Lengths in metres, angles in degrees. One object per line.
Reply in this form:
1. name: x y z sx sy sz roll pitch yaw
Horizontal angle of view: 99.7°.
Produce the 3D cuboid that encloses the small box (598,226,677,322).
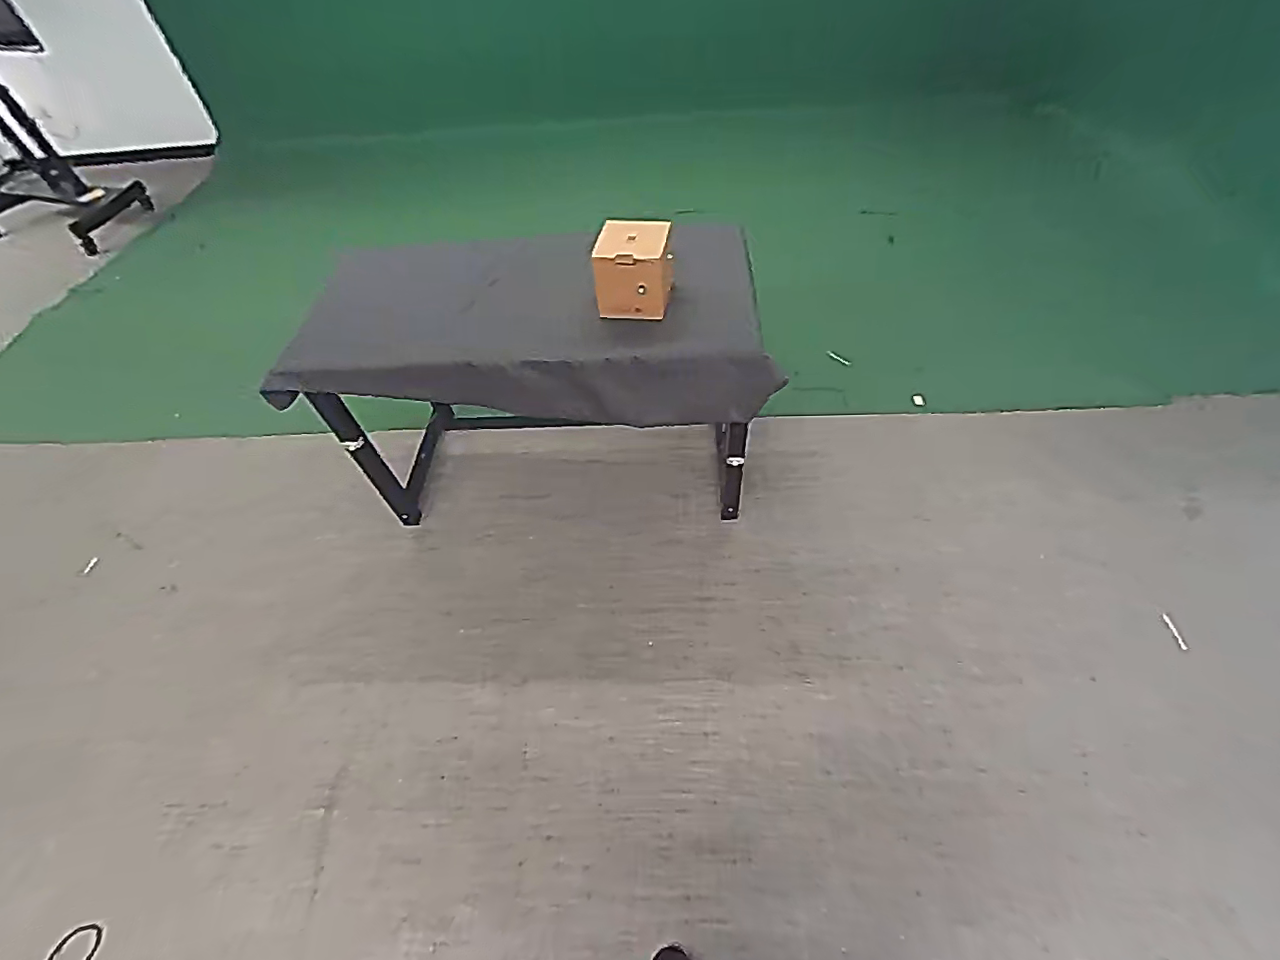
1. small box: 0.001 -0.520 1.371 0.168 0.176 0.179 7 51 8
